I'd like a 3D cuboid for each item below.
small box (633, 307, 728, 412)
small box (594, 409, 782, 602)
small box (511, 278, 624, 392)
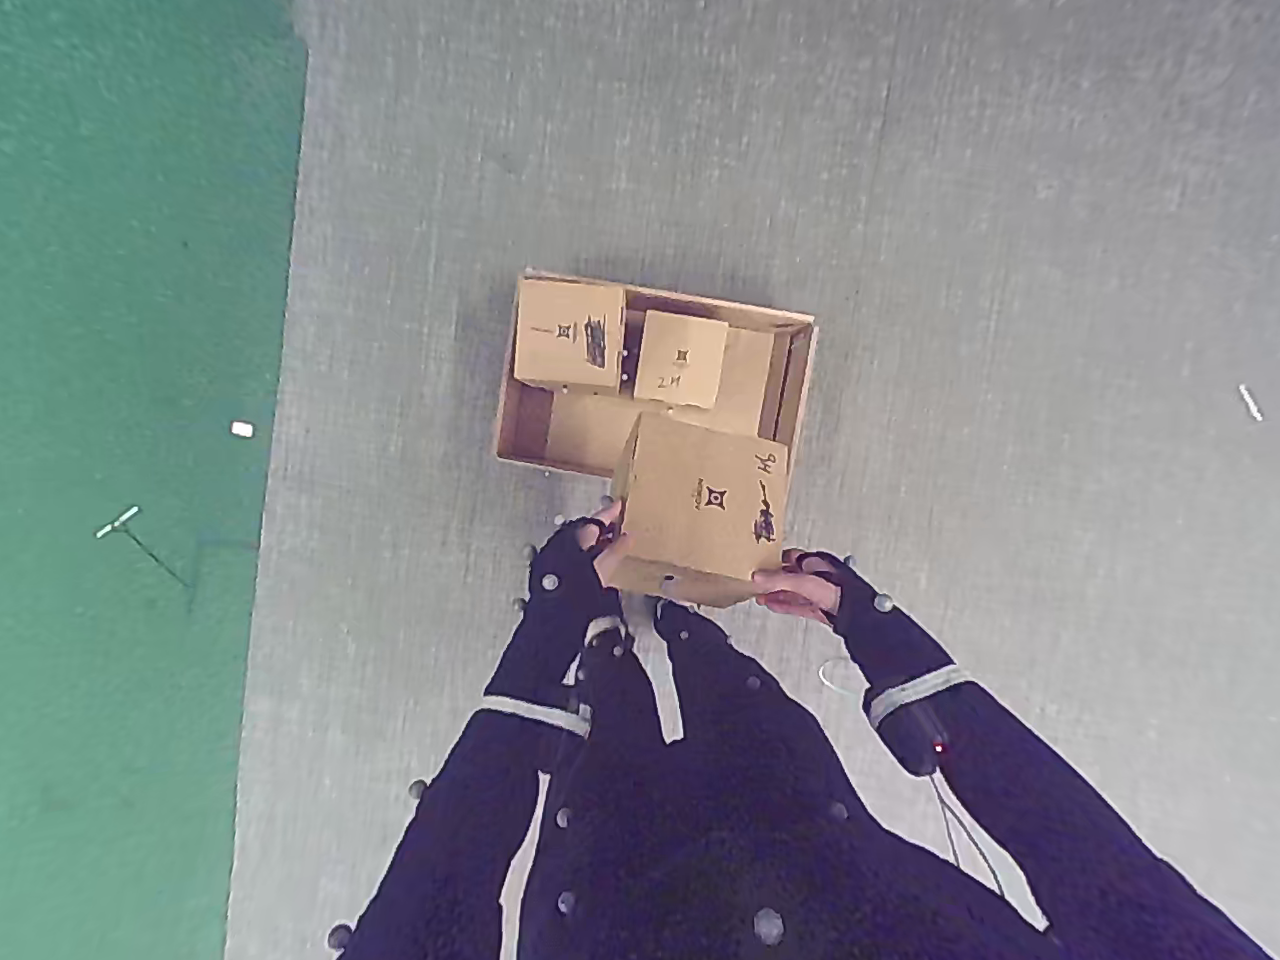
[{"bbox_3d":[0.080,-0.246,1.142,0.168,0.176,0.179,9,95,2],"label":"small box"},{"bbox_3d":[0.048,0.042,0.641,0.179,0.176,0.168,13,68,-6],"label":"small box"},{"bbox_3d":[-0.123,-0.253,0.979,0.179,0.176,0.168,5,95,1],"label":"small box"}]
